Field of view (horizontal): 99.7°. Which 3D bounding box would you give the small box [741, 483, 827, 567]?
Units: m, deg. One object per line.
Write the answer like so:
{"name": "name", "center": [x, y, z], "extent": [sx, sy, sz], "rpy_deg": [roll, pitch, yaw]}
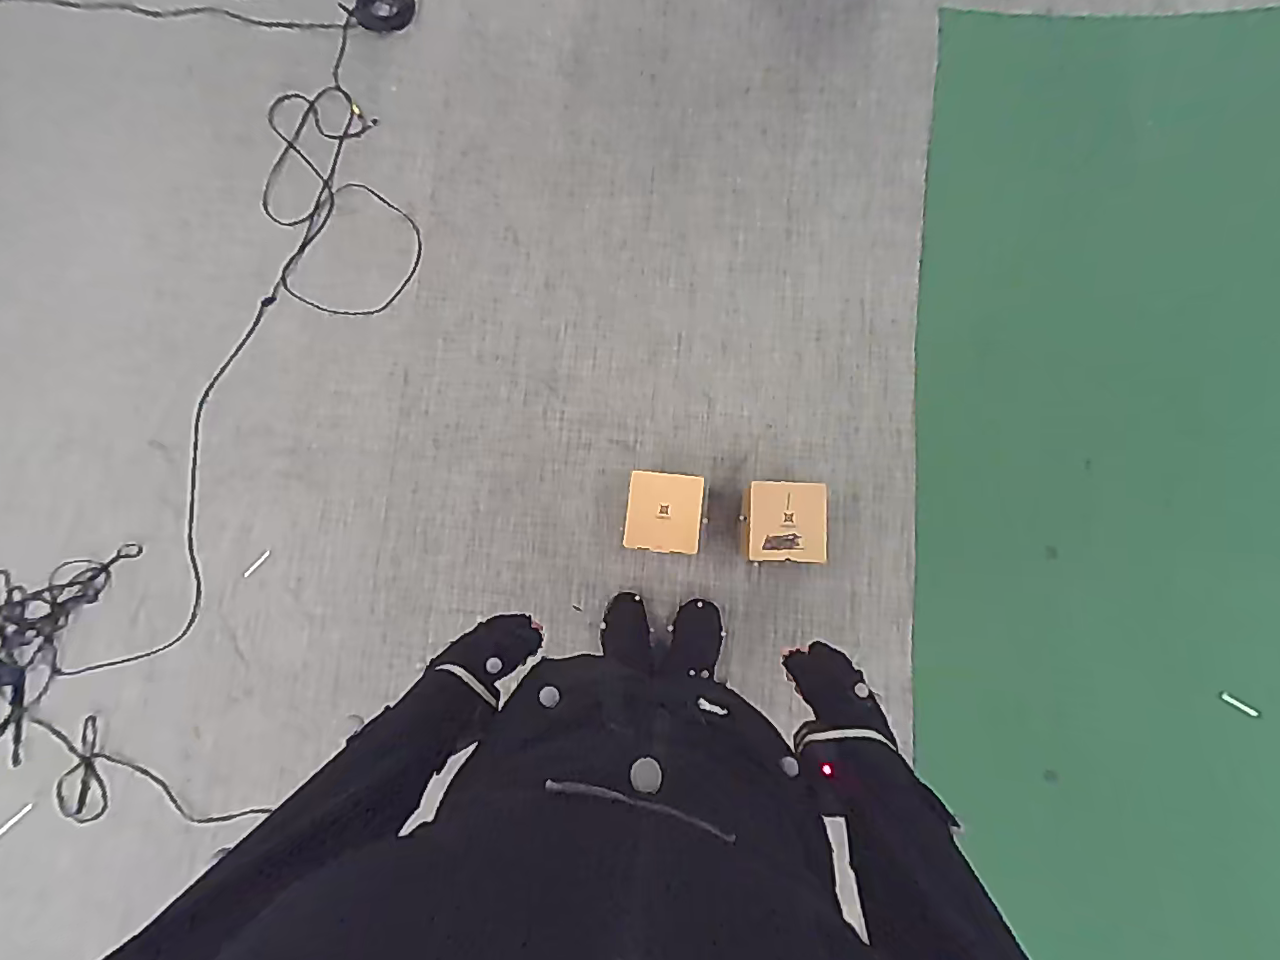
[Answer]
{"name": "small box", "center": [0.326, 0.106, 1.247], "extent": [0.168, 0.176, 0.179], "rpy_deg": [3, 81, 5]}

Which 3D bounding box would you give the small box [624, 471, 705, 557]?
{"name": "small box", "center": [0.059, 0.086, 1.272], "extent": [0.168, 0.176, 0.179], "rpy_deg": [6, 83, 5]}
